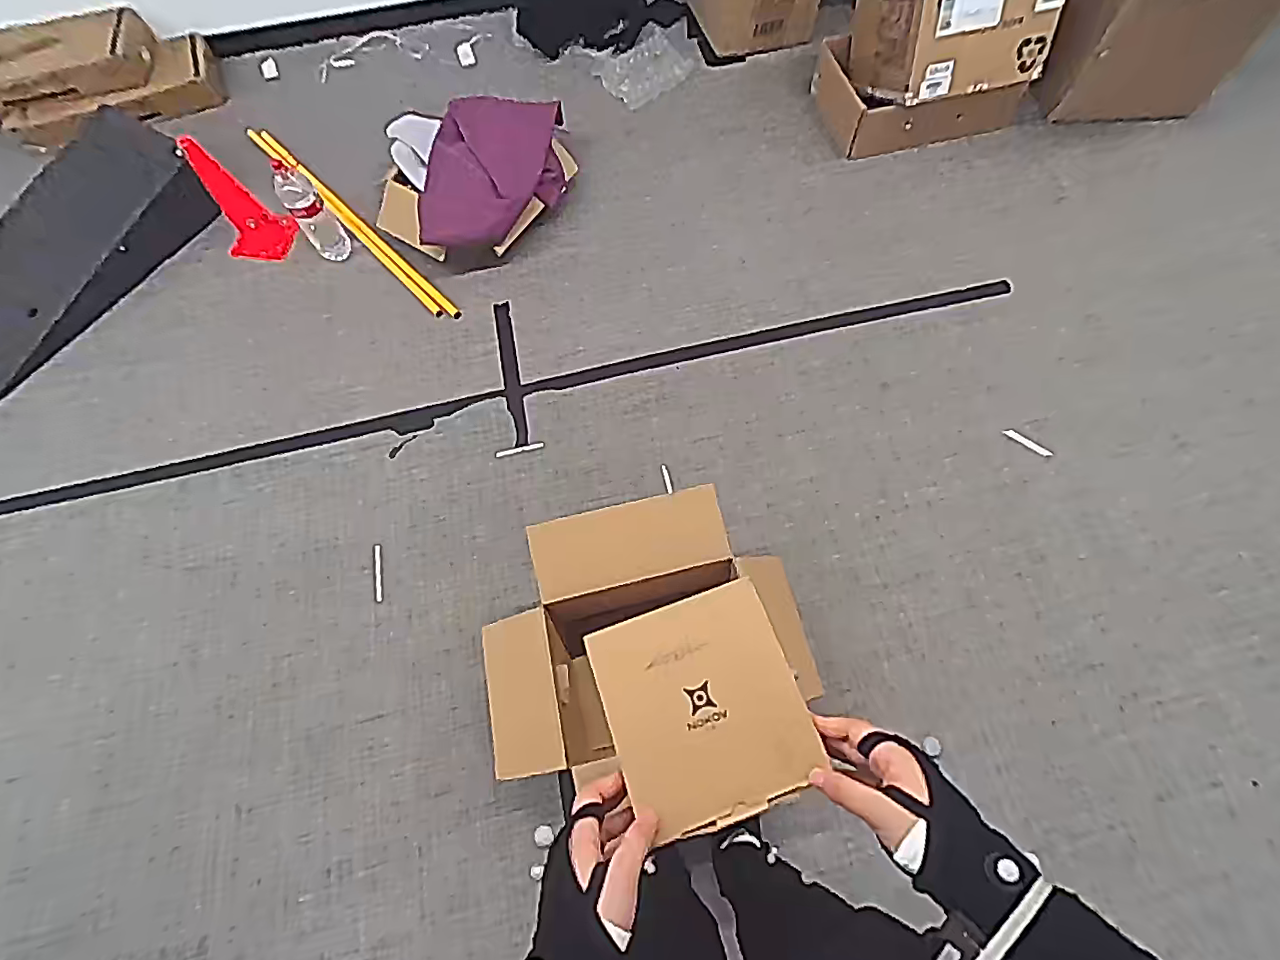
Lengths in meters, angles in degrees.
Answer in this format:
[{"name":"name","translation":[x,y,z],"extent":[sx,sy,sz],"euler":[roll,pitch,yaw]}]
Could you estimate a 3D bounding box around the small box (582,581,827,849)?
[{"name":"small box","translation":[0.056,0.223,0.537],"extent":[0.168,0.176,0.179],"euler":[-19,66,-4]}]
